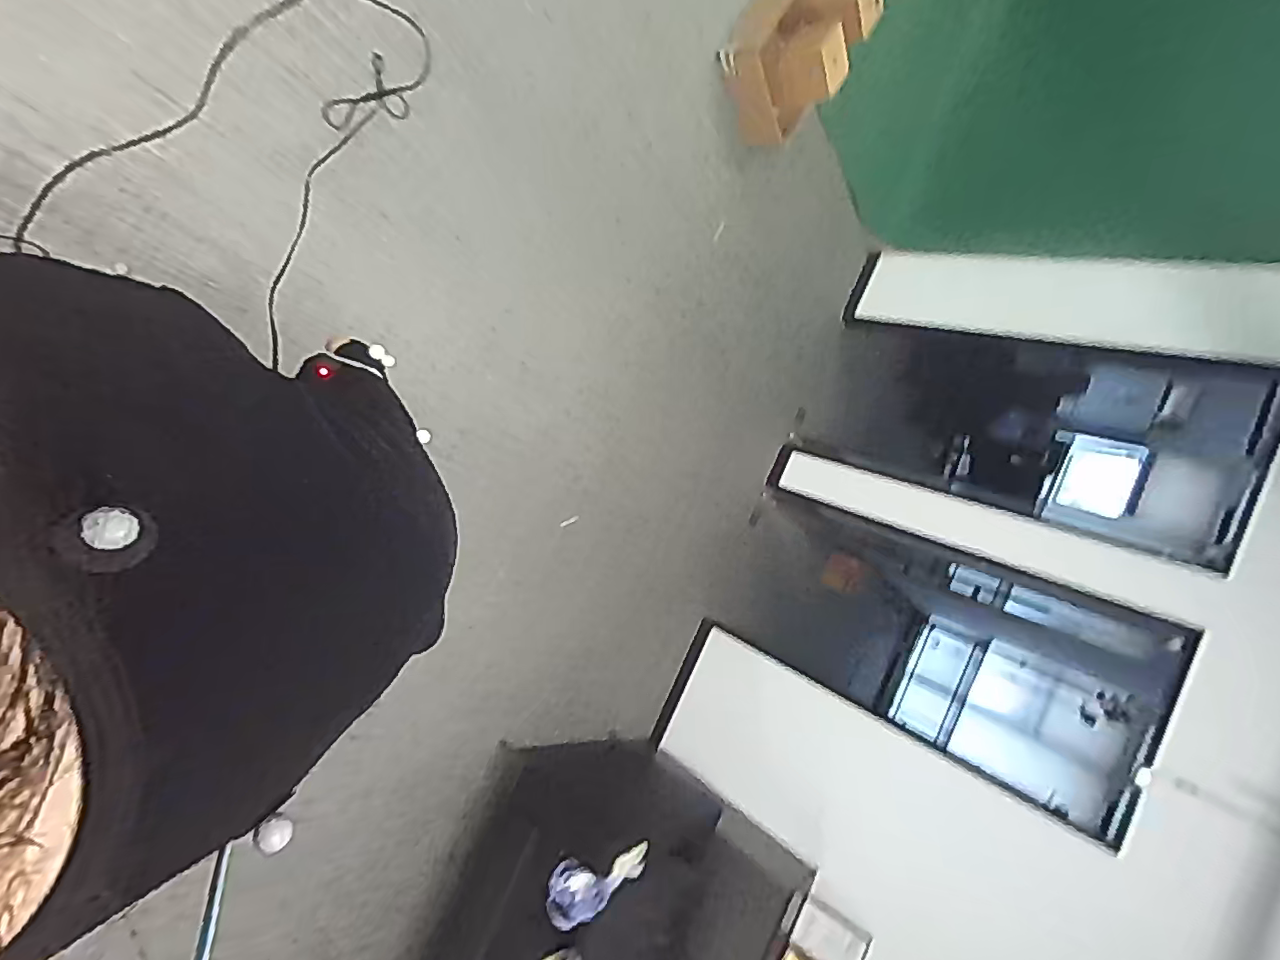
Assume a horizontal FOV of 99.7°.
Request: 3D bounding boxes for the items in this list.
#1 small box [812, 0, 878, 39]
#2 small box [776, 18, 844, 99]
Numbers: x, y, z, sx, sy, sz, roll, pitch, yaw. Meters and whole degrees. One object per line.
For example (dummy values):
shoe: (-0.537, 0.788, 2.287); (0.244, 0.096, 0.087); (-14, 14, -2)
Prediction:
small box: (0.778, -1.821, 2.055); (0.179, 0.176, 0.168); (-60, 142, -9)
small box: (0.632, -1.561, 2.015); (0.168, 0.176, 0.179); (-57, 139, -14)
